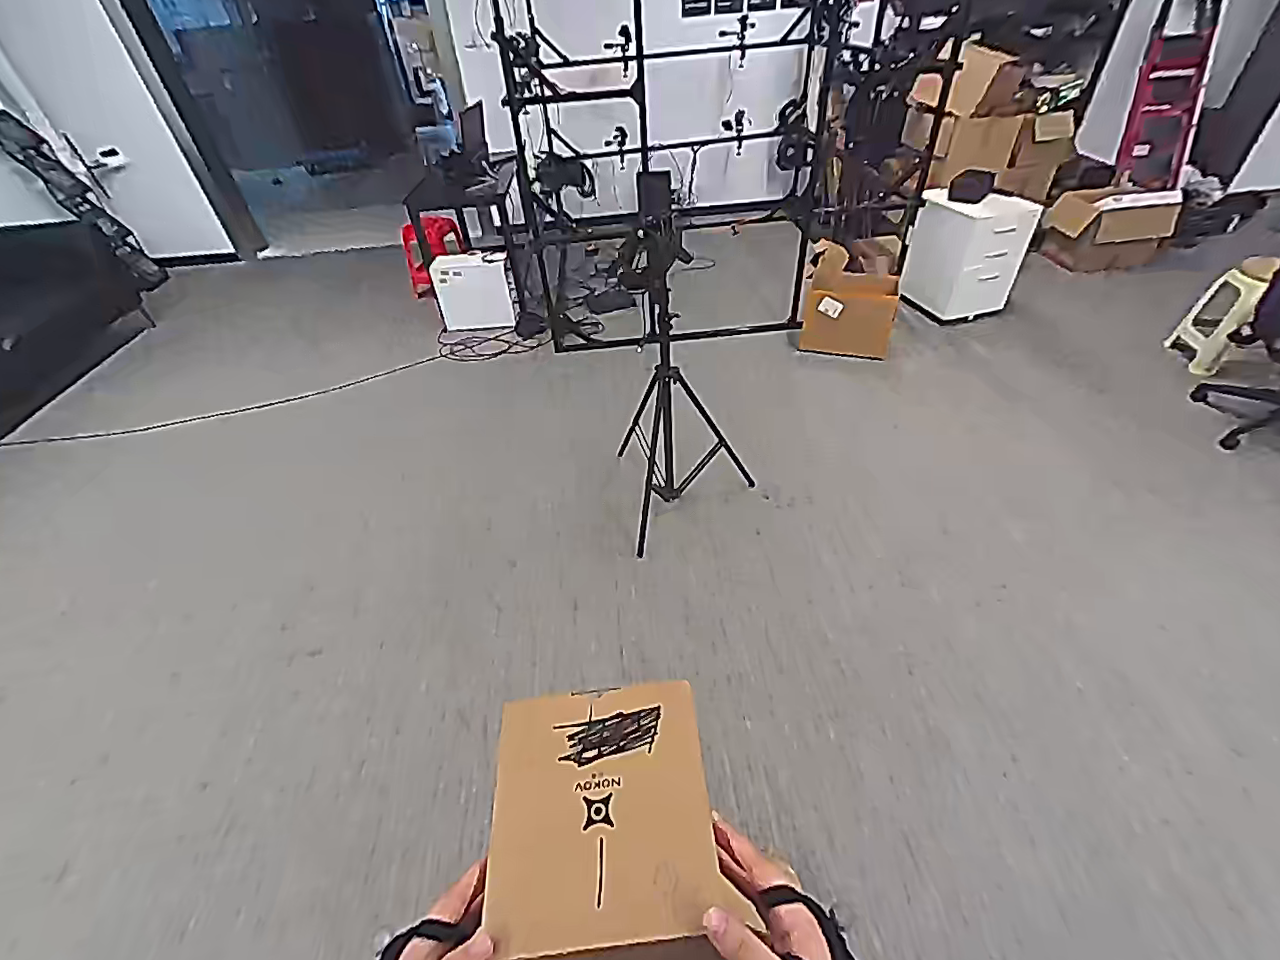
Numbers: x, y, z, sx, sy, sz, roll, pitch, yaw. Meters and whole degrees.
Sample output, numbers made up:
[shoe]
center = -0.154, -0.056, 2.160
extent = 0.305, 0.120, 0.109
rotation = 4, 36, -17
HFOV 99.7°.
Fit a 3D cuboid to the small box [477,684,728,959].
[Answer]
[small box]
center = -0.024, 0.305, 0.463
extent = 0.168, 0.176, 0.179
rotation = -7, 40, 0
